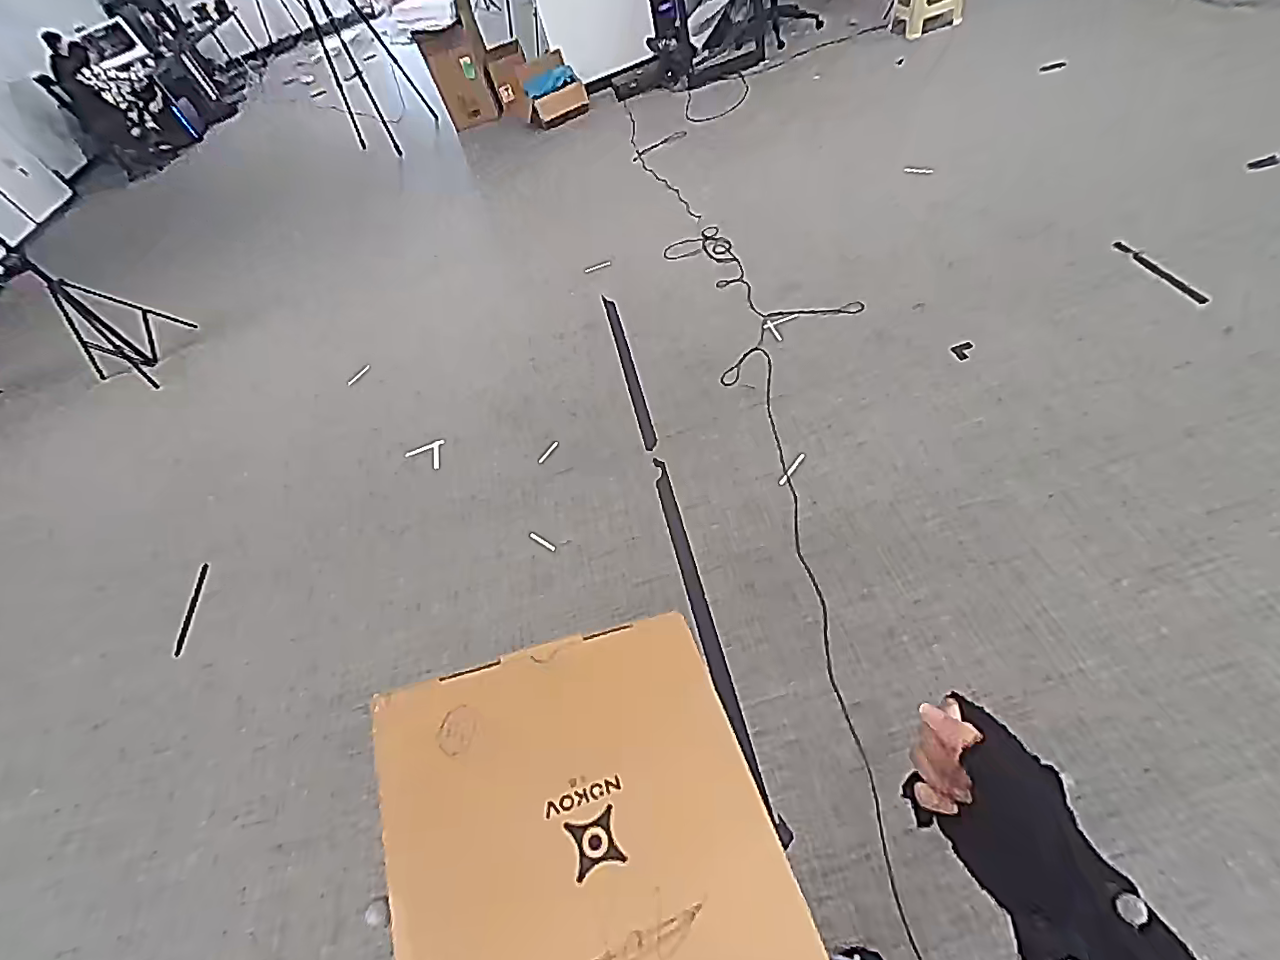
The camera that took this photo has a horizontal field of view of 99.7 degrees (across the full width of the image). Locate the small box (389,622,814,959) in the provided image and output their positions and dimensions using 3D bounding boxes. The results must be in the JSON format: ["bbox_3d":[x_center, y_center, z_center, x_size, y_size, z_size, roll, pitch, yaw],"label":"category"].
[{"bbox_3d":[-0.042,0.212,0.315,0.168,0.176,0.179,-10,57,-22],"label":"small box"}]
